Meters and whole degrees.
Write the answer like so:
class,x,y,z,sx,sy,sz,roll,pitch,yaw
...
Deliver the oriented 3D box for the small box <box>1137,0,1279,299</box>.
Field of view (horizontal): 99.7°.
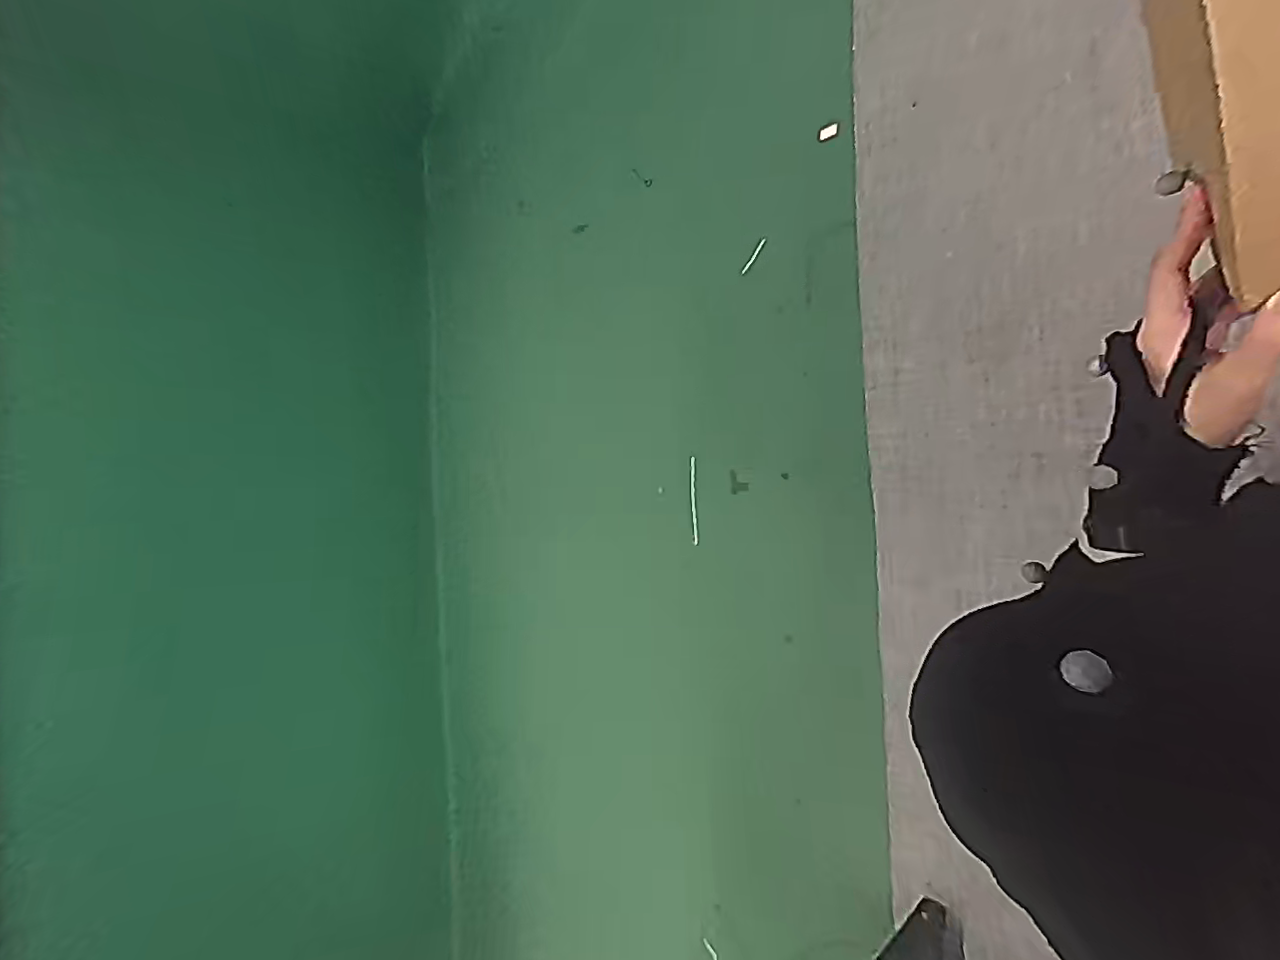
class,x,y,z,sx,sy,sz,roll,pitch,yaw
small box,0.328,-0.217,0.217,0.168,0.179,0.176,-17,38,43
